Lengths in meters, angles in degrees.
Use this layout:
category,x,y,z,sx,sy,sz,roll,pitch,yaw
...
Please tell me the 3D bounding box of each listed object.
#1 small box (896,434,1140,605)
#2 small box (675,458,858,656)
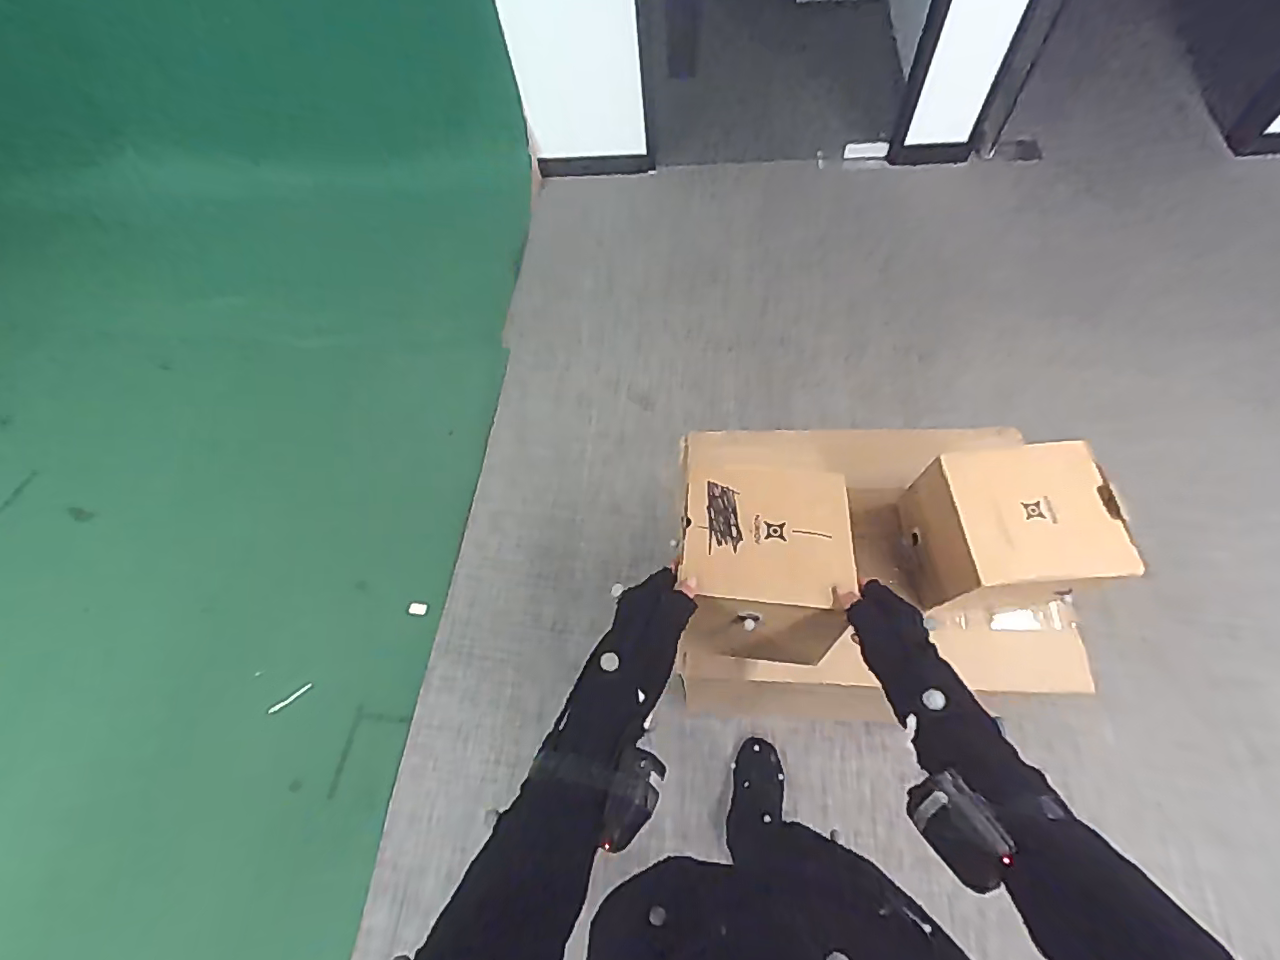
category,x,y,z,sx,sy,sz,roll,pitch,yaw
small box,0.461,0.059,0.696,0.179,0.176,0.168,-7,66,5
small box,0.134,0.094,0.630,0.179,0.176,0.168,5,55,5
